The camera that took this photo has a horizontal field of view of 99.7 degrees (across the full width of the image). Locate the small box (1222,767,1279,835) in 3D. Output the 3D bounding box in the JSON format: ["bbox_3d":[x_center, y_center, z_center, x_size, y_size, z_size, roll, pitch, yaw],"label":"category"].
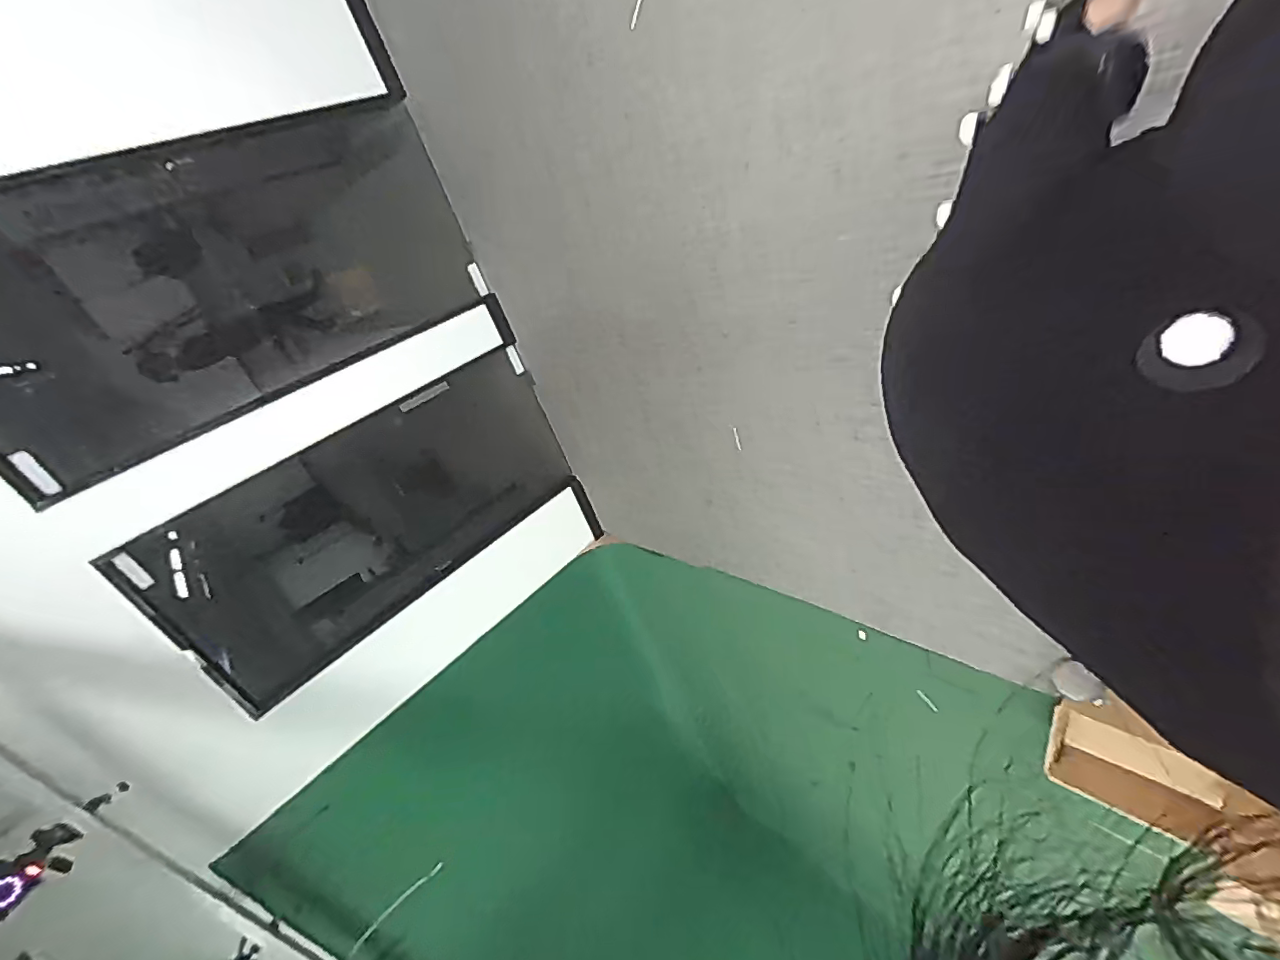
[{"bbox_3d":[1.681,0.907,1.428,0.168,0.176,0.179,16,135,46],"label":"small box"}]

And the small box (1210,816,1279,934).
[{"bbox_3d":[1.569,0.988,1.339,0.179,0.176,0.168,18,136,46],"label":"small box"}]
